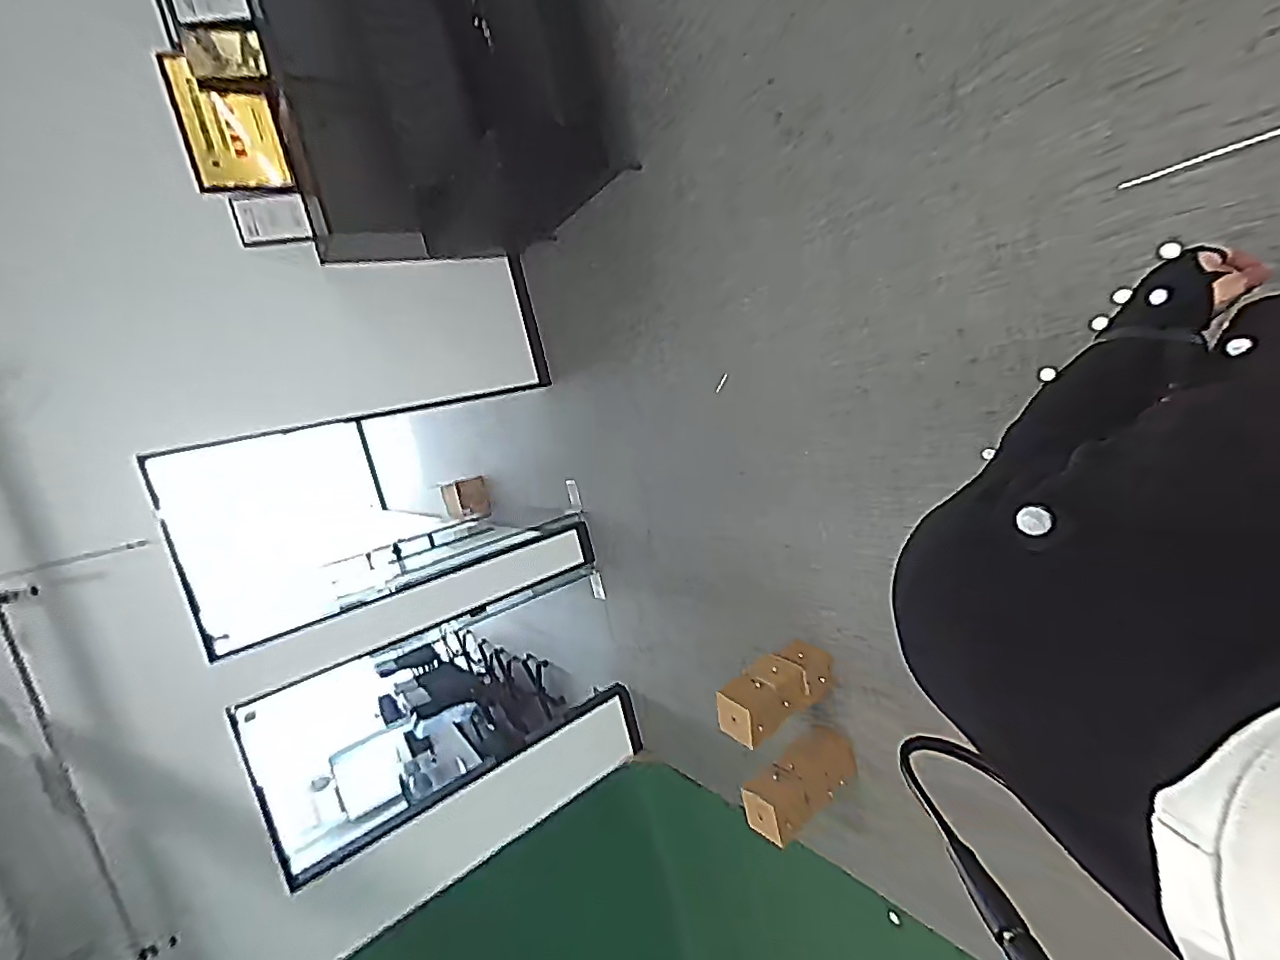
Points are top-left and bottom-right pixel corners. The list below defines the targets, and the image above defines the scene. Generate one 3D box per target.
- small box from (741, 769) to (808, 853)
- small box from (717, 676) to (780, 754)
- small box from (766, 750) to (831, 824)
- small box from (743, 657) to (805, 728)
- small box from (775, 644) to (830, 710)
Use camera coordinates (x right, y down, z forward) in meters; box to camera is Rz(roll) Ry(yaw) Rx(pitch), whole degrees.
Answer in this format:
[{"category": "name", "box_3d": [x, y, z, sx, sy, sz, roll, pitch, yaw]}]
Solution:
[{"category": "small box", "box_3d": [0.513, 1.247, 2.049, 0.168, 0.176, 0.179, -4, 101, 55]}, {"category": "small box", "box_3d": [0.410, 0.877, 2.033, 0.168, 0.176, 0.179, 14, 116, 50]}, {"category": "small box", "box_3d": [0.638, 1.212, 2.152, 0.179, 0.176, 0.168, -5, 100, 56]}, {"category": "small box", "box_3d": [0.531, 0.831, 2.133, 0.168, 0.176, 0.179, 8, 111, 53]}, {"category": "small box", "box_3d": [0.665, 0.800, 2.220, 0.179, 0.176, 0.168, 10, 111, 51]}]
